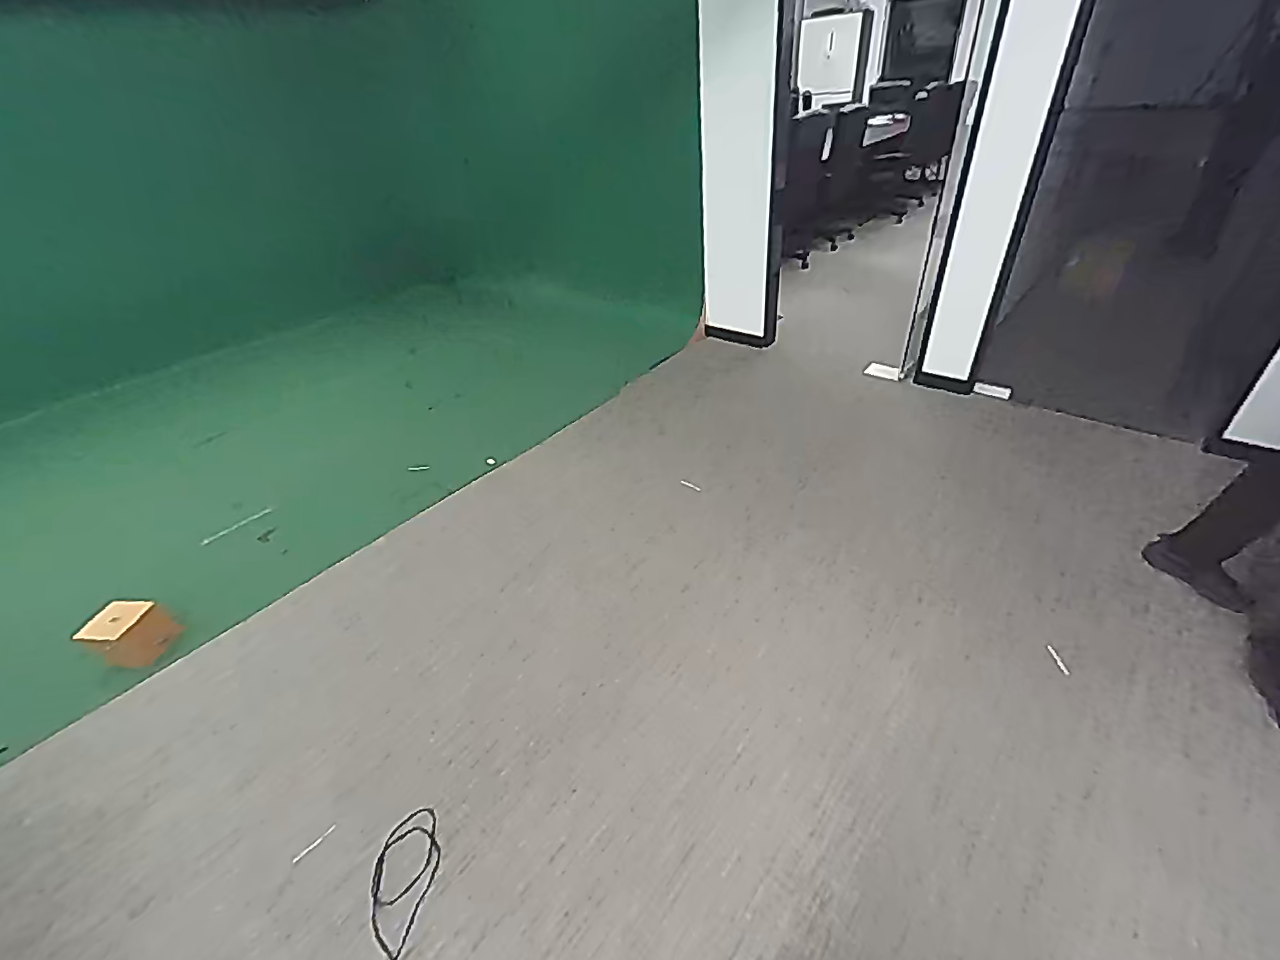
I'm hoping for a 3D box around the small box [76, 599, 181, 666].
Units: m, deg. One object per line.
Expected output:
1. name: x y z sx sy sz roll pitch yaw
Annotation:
1. small box: -1.814 0.544 1.929 0.179 0.176 0.168 0 37 7
